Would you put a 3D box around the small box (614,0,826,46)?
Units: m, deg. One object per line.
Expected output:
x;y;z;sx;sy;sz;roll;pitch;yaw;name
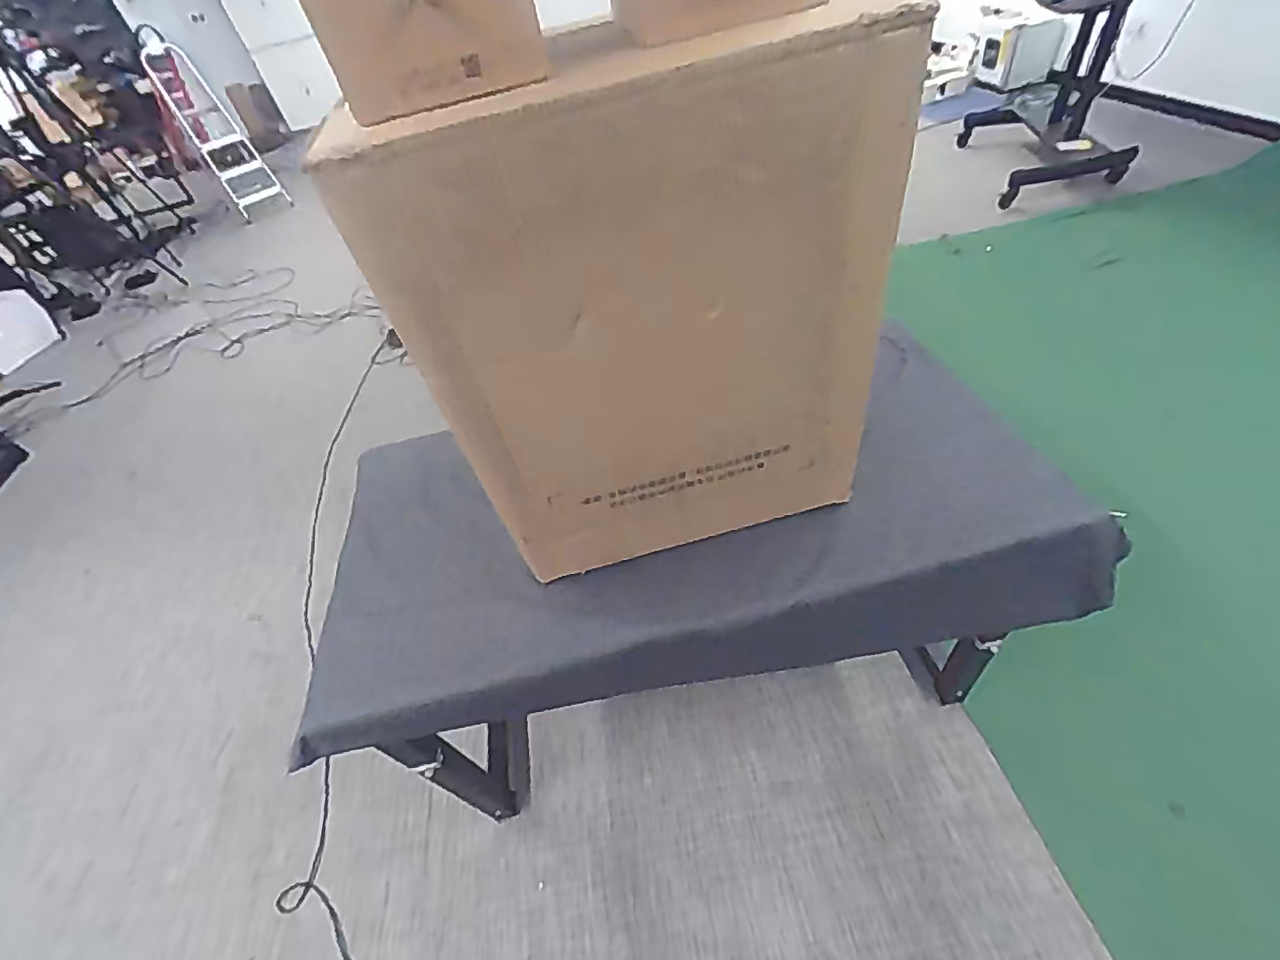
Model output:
0.059;-0.495;0.461;0.168;0.176;0.179;-13;47;-3;small box

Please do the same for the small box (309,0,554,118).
-0.175;-0.423;0.442;0.168;0.176;0.179;-14;49;-1;small box
